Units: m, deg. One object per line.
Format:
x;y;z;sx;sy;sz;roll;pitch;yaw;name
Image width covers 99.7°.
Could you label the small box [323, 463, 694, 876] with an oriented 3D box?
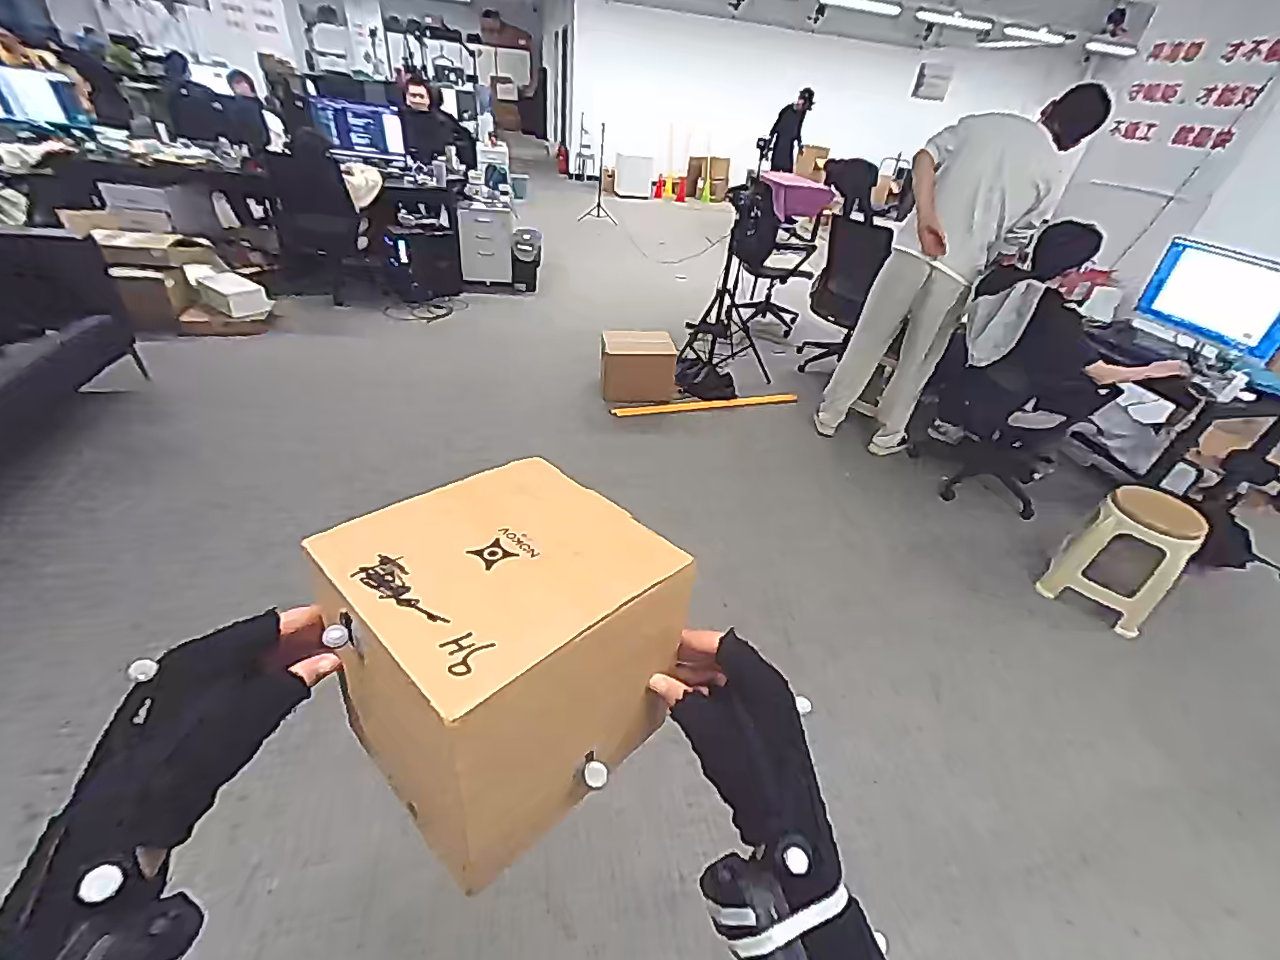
-0.089;0.114;0.382;0.168;0.176;0.179;28;36;34;small box
